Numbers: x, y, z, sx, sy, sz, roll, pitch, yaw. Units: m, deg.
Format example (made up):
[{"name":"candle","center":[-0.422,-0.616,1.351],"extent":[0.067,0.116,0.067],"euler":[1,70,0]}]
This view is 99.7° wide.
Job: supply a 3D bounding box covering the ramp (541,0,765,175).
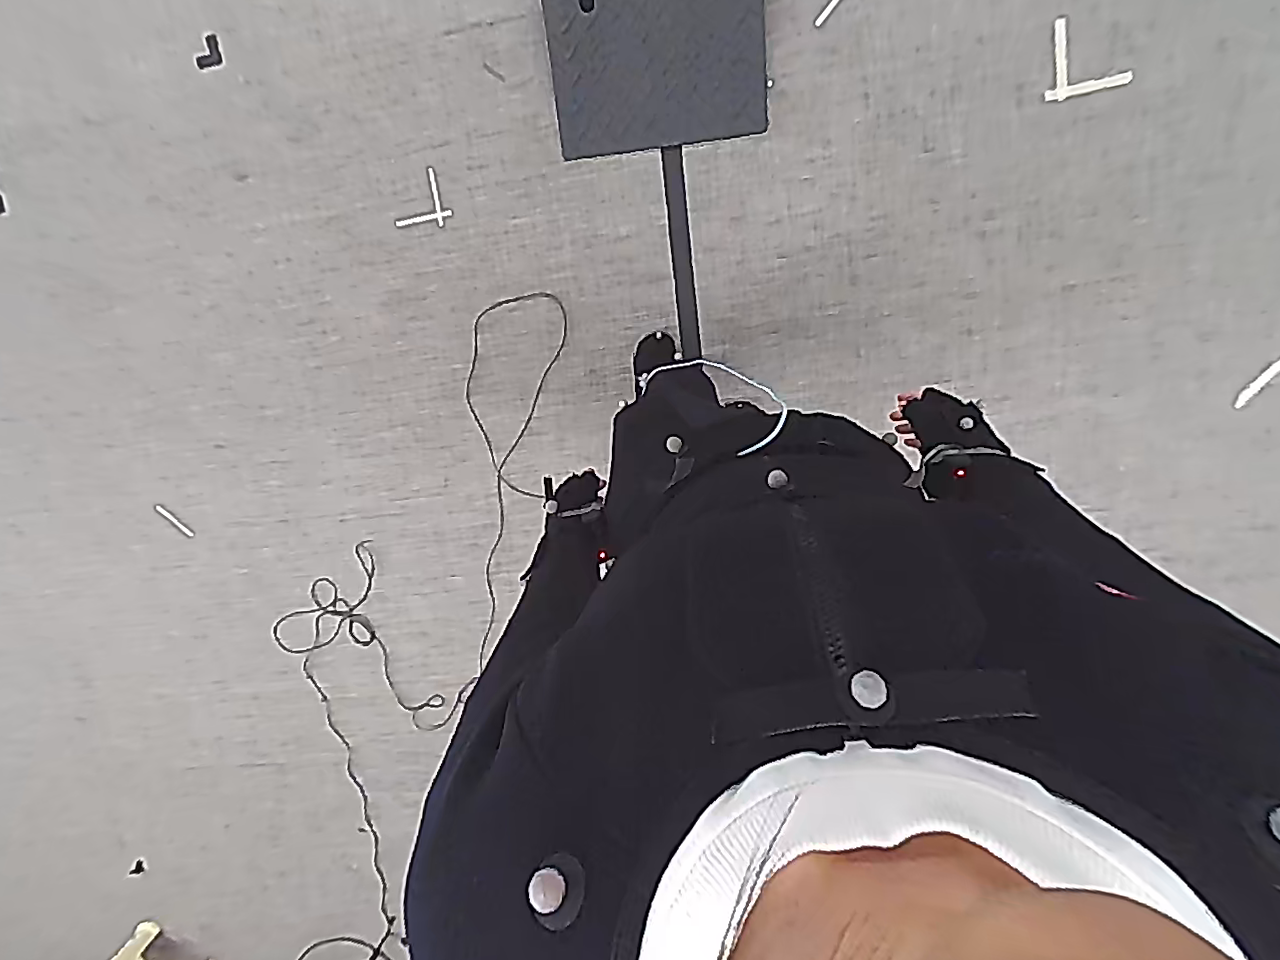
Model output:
[{"name":"ramp","center":[-0.003,-1.245,1.149],"extent":[0.509,0.206,0.991],"euler":[-7,100,7]}]
